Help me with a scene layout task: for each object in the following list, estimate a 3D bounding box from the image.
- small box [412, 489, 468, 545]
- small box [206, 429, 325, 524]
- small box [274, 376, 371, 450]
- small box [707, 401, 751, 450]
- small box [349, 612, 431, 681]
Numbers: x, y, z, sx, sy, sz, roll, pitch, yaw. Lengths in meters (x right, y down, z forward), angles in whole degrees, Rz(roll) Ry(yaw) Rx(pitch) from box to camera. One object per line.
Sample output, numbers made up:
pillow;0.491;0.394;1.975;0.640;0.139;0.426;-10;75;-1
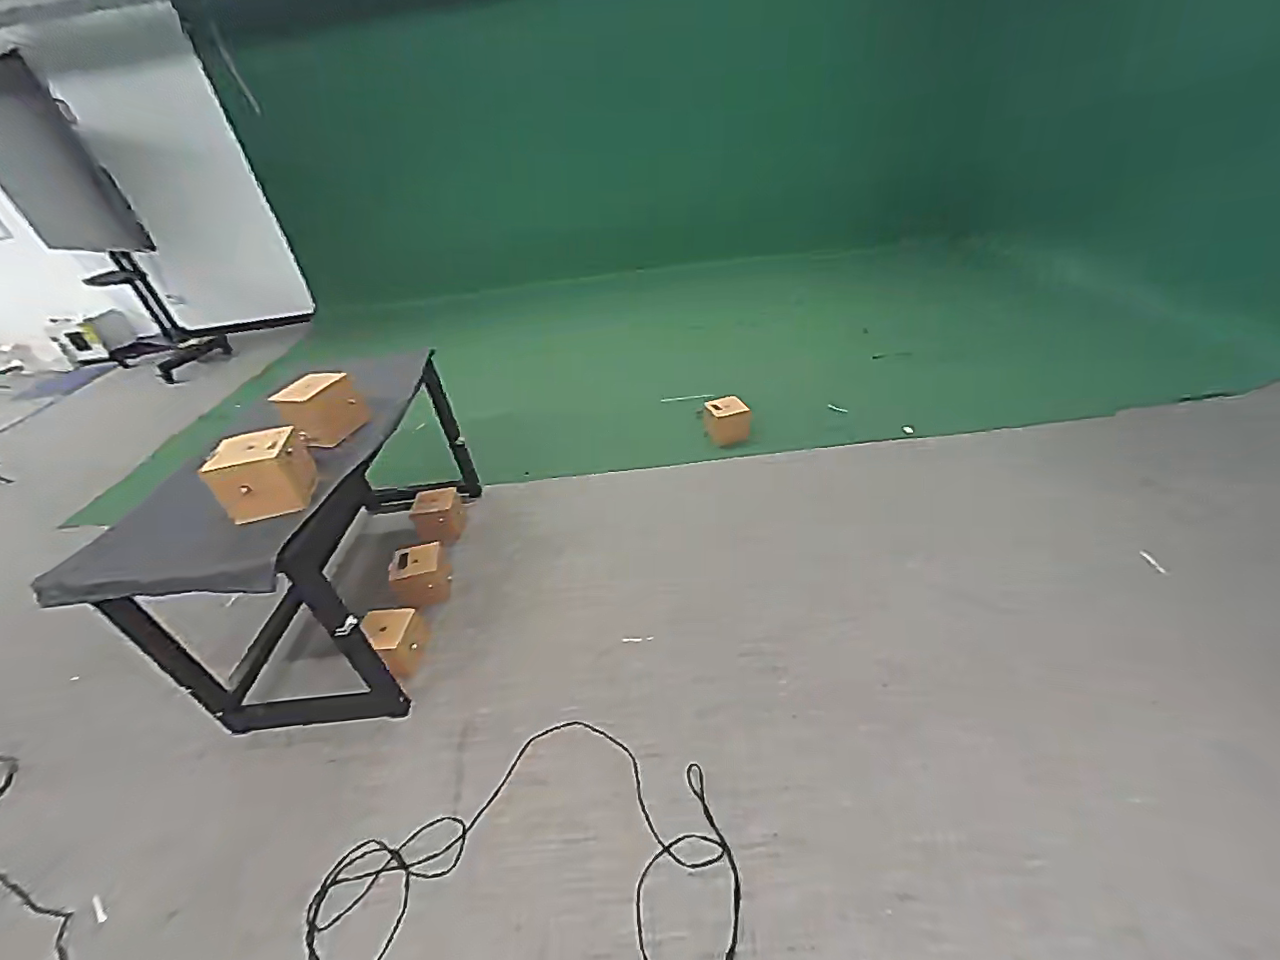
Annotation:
small box;-0.875;0.165;2.391;0.179;0.176;0.168;-9;36;-1
small box;-0.965;-0.007;1.411;0.179;0.176;0.168;-13;36;-7
small box;-0.978;-0.212;1.692;0.168;0.176;0.179;3;39;21
small box;0.449;-0.272;2.719;0.179;0.176;0.168;-15;37;-10
small box;-0.841;0.569;1.845;0.179;0.176;0.168;-4;37;7
